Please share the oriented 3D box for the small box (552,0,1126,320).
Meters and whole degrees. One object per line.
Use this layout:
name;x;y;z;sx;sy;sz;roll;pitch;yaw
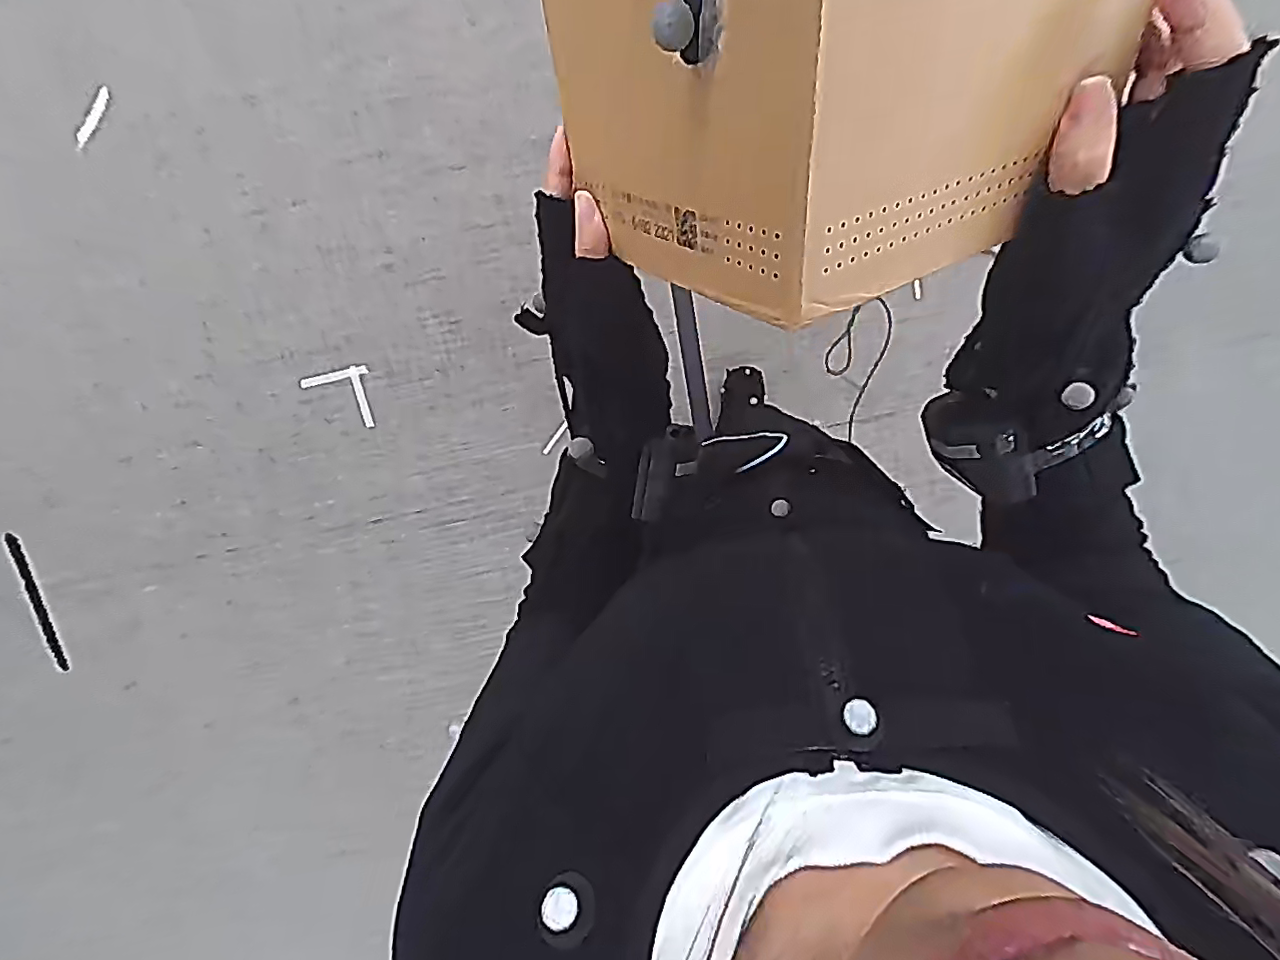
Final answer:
small box;0.075;-0.186;0.227;0.179;0.168;0.176;-26;133;-19
